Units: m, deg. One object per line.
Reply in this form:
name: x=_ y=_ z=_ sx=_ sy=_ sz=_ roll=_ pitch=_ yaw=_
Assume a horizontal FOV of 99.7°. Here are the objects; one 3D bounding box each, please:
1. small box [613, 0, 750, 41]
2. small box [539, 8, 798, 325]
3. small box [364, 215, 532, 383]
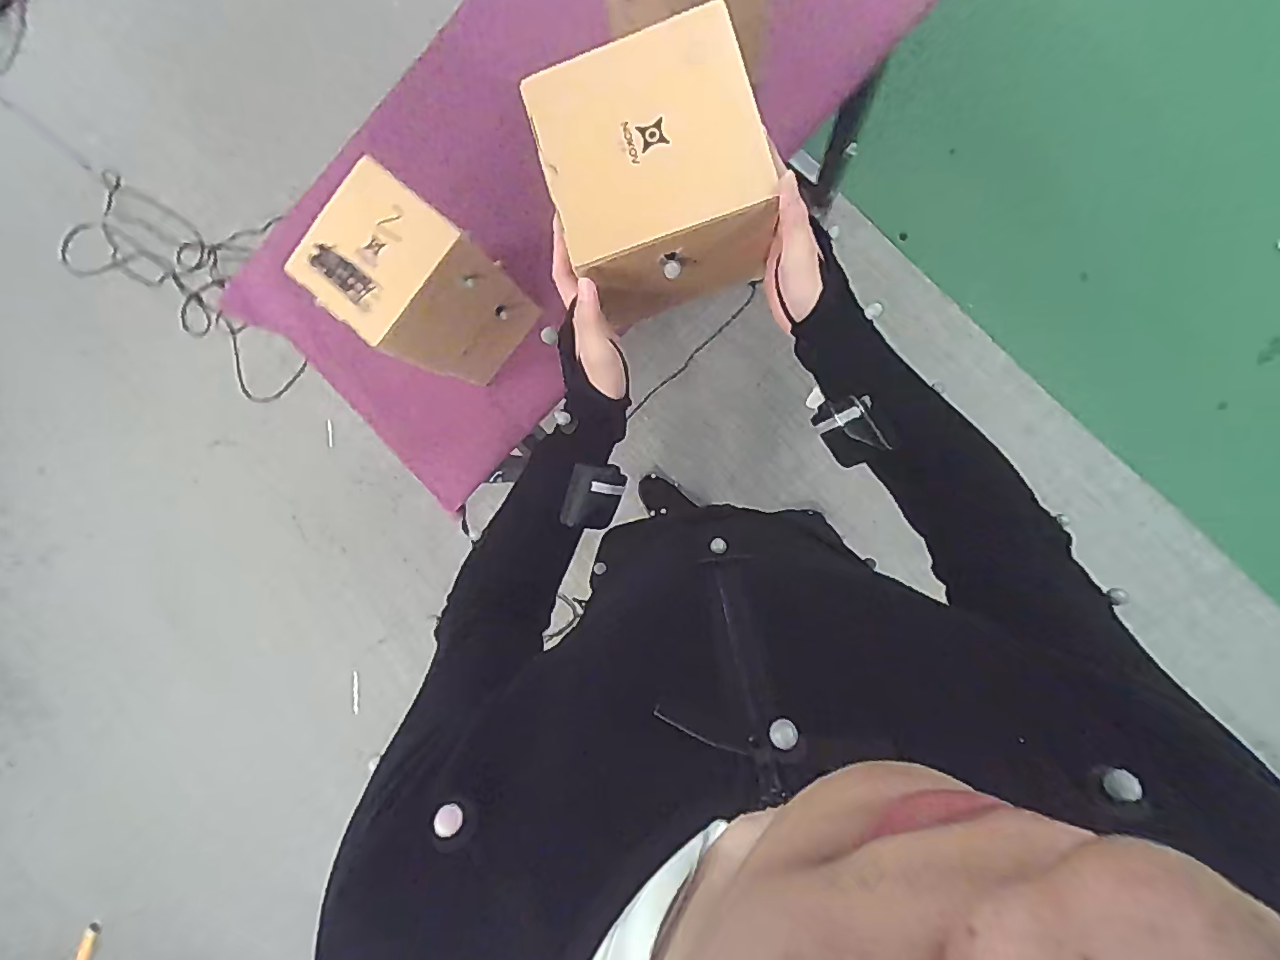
small box: x=0.045 y=-0.678 z=0.670 sx=0.179 sy=0.176 sz=0.168 roll=-38 pitch=86 yaw=9
small box: x=0.030 y=-0.266 z=0.506 sx=0.179 sy=0.176 sz=0.168 roll=-16 pitch=88 yaw=8
small box: x=-0.300 y=-0.285 z=0.892 sx=0.168 sy=0.176 sz=0.179 roll=41 pitch=96 yaw=6
